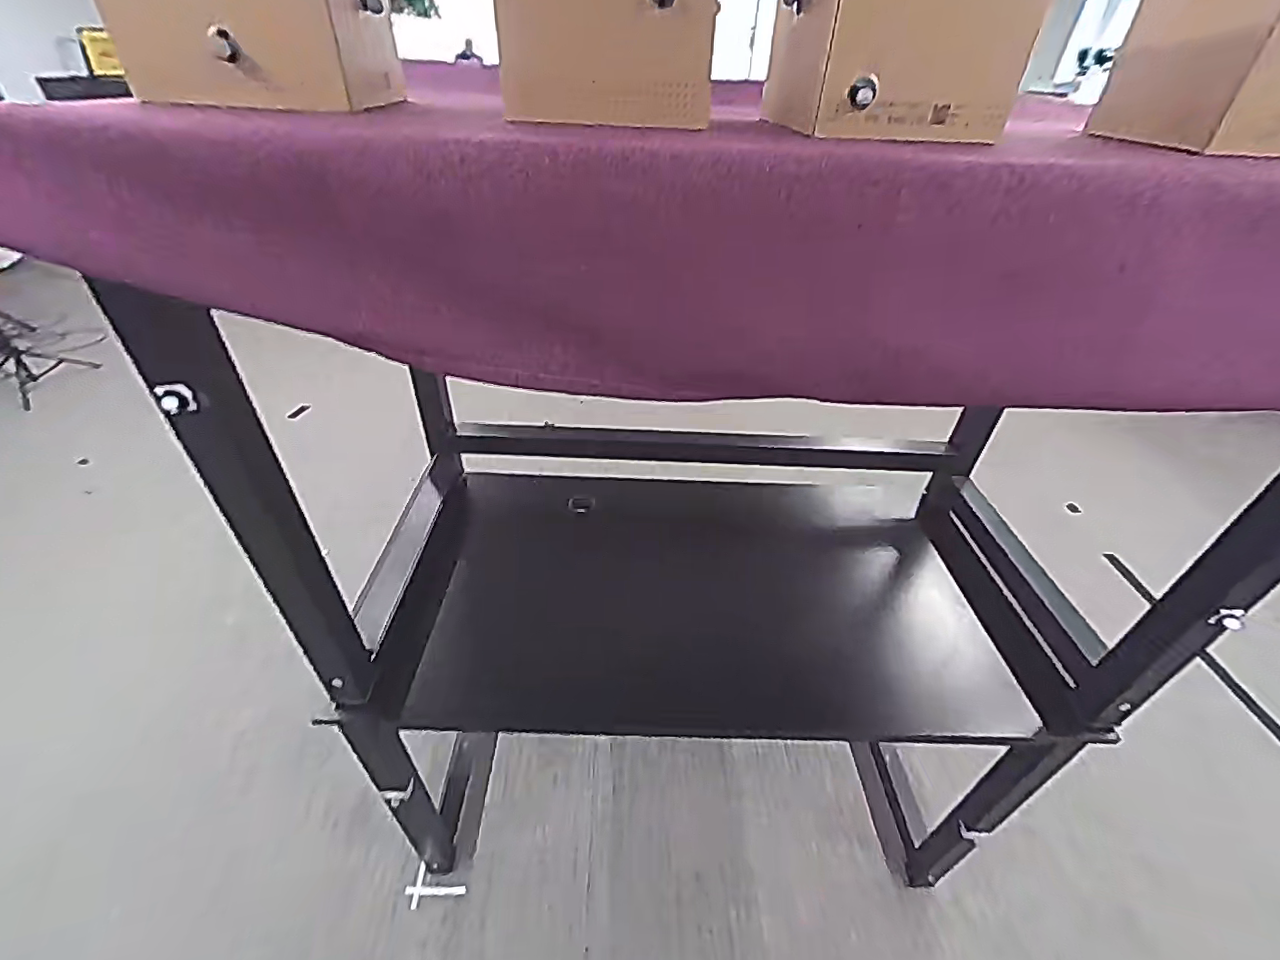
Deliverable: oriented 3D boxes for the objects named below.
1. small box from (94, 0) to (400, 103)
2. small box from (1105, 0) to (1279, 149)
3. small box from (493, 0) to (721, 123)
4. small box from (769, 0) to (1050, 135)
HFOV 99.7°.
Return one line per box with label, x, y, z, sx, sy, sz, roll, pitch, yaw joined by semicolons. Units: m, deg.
small box;-0.323;-0.423;0.452;0.179;0.176;0.168;1;38;-4
small box;0.553;-0.379;0.448;0.168;0.176;0.179;4;38;2
small box;-0.023;-0.413;0.462;0.179;0.176;0.168;2;37;-1
small box;0.221;-0.399;0.457;0.168;0.176;0.179;-1;37;-5
